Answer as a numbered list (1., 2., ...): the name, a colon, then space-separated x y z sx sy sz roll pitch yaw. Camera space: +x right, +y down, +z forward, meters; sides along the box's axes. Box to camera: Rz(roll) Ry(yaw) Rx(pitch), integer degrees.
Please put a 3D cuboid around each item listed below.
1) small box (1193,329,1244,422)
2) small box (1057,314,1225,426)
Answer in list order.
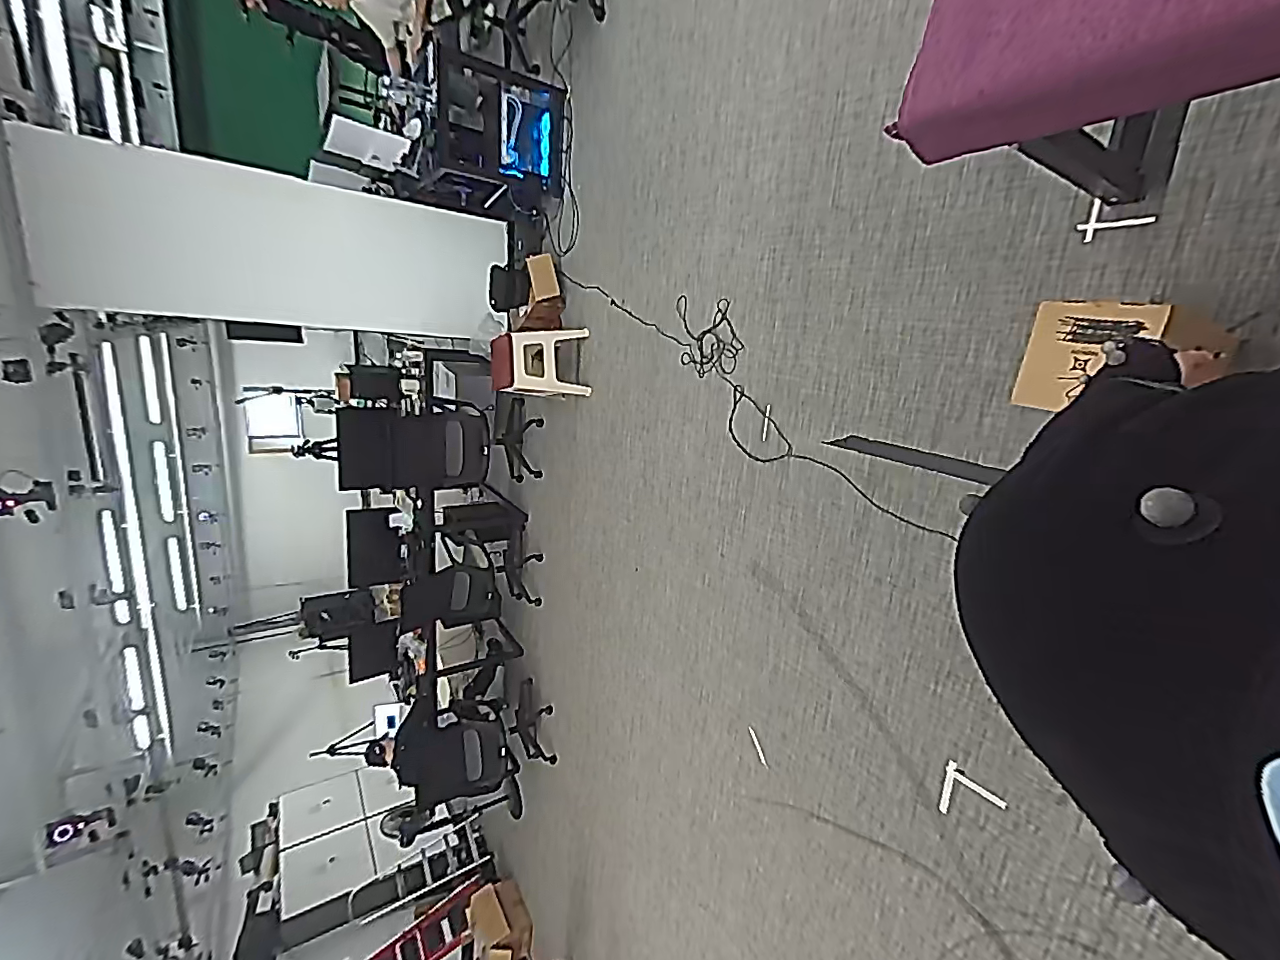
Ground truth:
1. small box: 1.034 -0.216 1.070 0.168 0.176 0.179 33 121 50
2. small box: 0.901 -0.198 0.973 0.168 0.176 0.179 26 116 53
